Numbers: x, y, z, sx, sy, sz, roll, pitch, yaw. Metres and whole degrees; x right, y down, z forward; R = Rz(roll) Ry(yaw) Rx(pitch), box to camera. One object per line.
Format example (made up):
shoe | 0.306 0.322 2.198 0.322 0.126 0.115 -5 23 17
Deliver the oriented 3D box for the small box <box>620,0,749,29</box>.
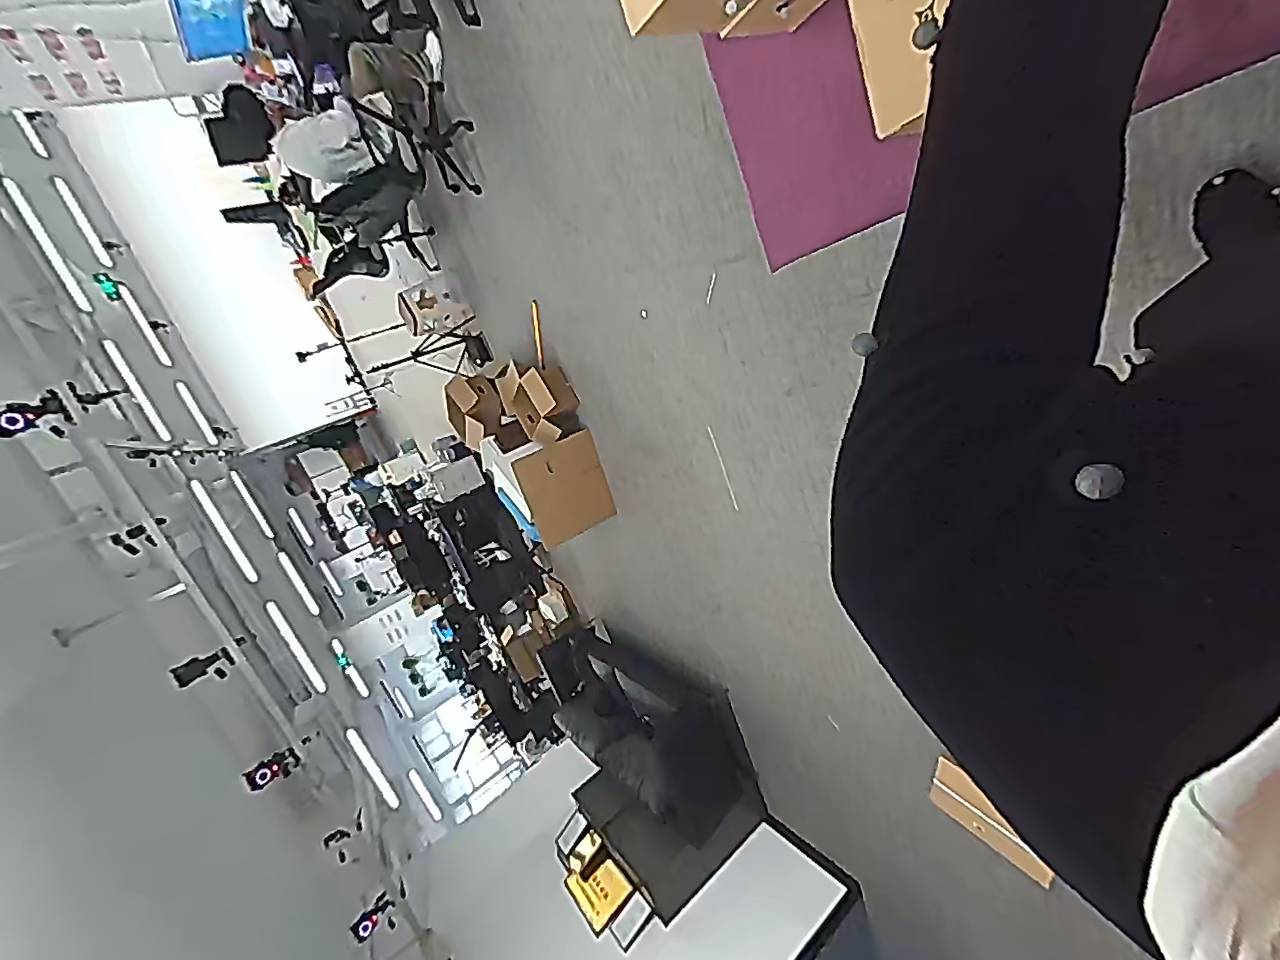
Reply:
small box | 0.068 -0.699 0.663 0.168 0.176 0.179 8 123 57

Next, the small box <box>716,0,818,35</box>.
small box | 0.193 -0.767 0.746 0.168 0.176 0.179 1 115 59
